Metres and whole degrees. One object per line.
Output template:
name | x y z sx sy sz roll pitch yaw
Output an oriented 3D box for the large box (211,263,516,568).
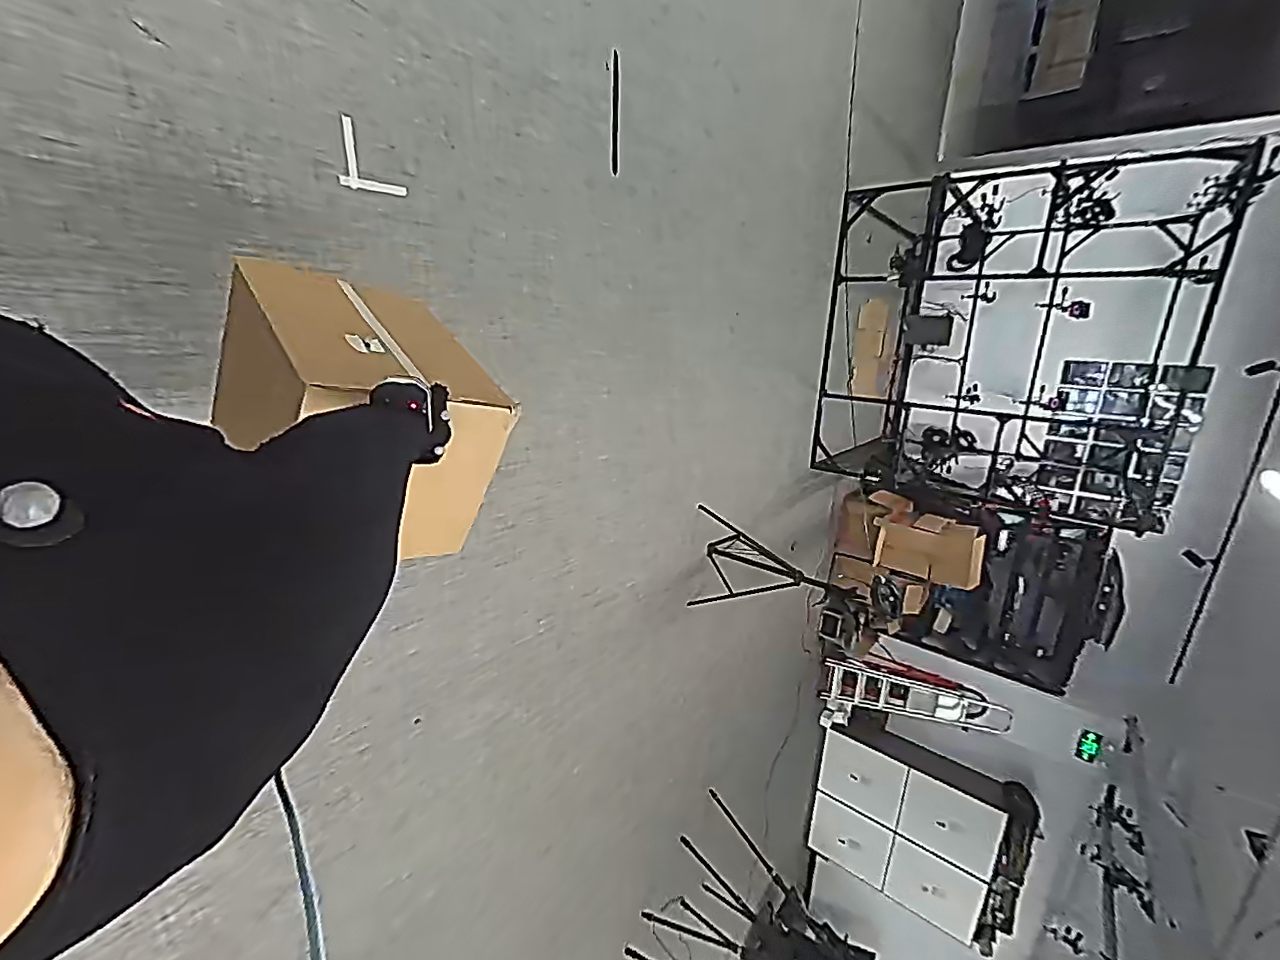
large box | -0.492 -0.108 0.936 0.320 0.408 0.320 -1 128 -49
